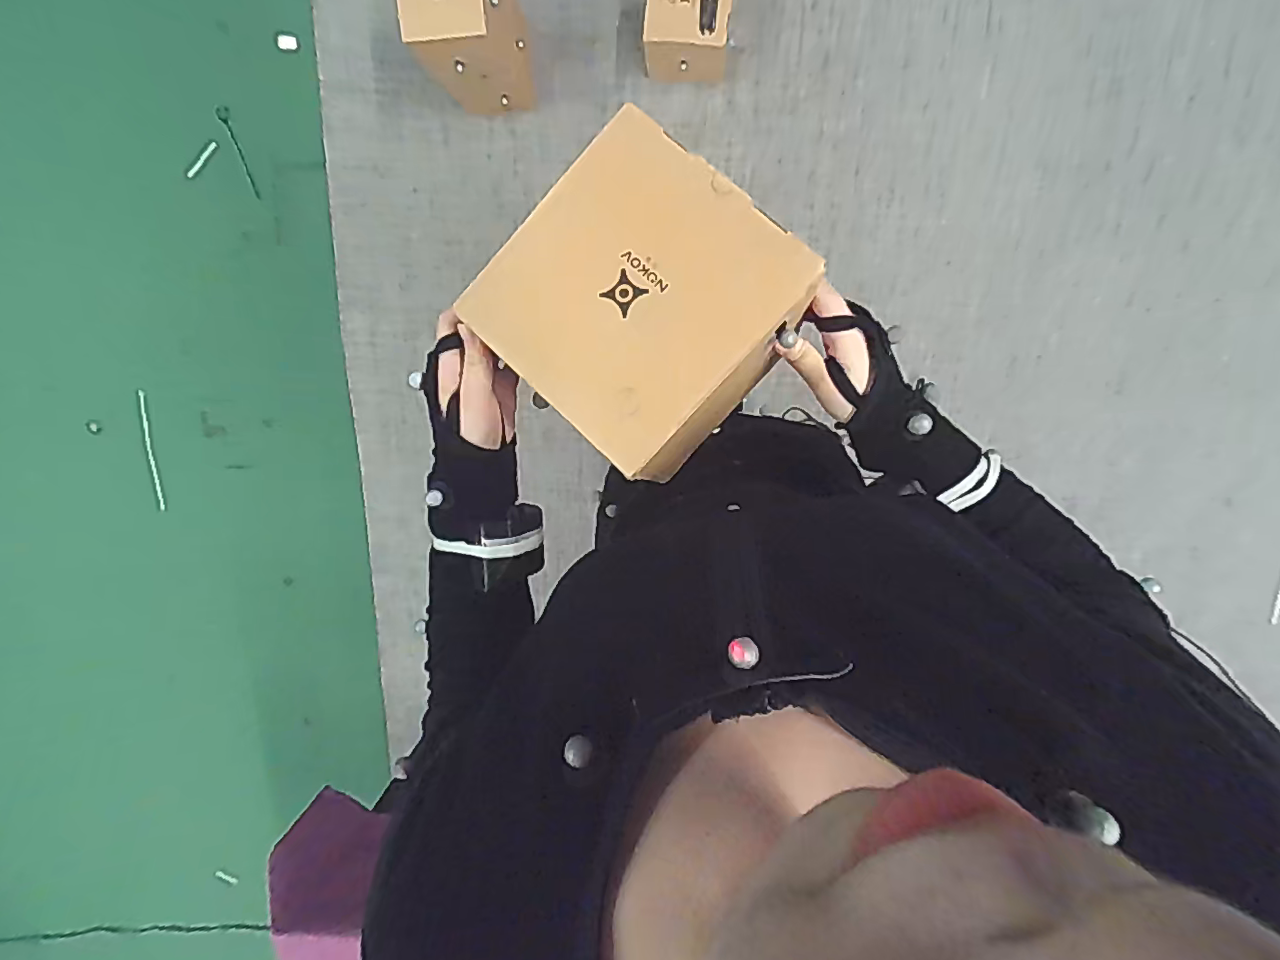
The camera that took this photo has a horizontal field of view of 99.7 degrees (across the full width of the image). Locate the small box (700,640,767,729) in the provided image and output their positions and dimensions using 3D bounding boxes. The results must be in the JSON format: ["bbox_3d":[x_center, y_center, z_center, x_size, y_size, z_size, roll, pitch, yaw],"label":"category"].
[{"bbox_3d":[0.258,0.572,1.530,0.168,0.176,0.179,2,102,4],"label":"small box"}]

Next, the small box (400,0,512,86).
[{"bbox_3d":[-0.364,-0.924,1.087,0.168,0.176,0.179,-1,102,4],"label":"small box"}]

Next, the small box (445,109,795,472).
[{"bbox_3d":[-0.005,-0.121,0.424,0.168,0.176,0.179,44,95,8],"label":"small box"}]

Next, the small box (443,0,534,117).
[{"bbox_3d":[-0.347,-0.962,1.246,0.168,0.176,0.179,1,102,5],"label":"small box"}]
